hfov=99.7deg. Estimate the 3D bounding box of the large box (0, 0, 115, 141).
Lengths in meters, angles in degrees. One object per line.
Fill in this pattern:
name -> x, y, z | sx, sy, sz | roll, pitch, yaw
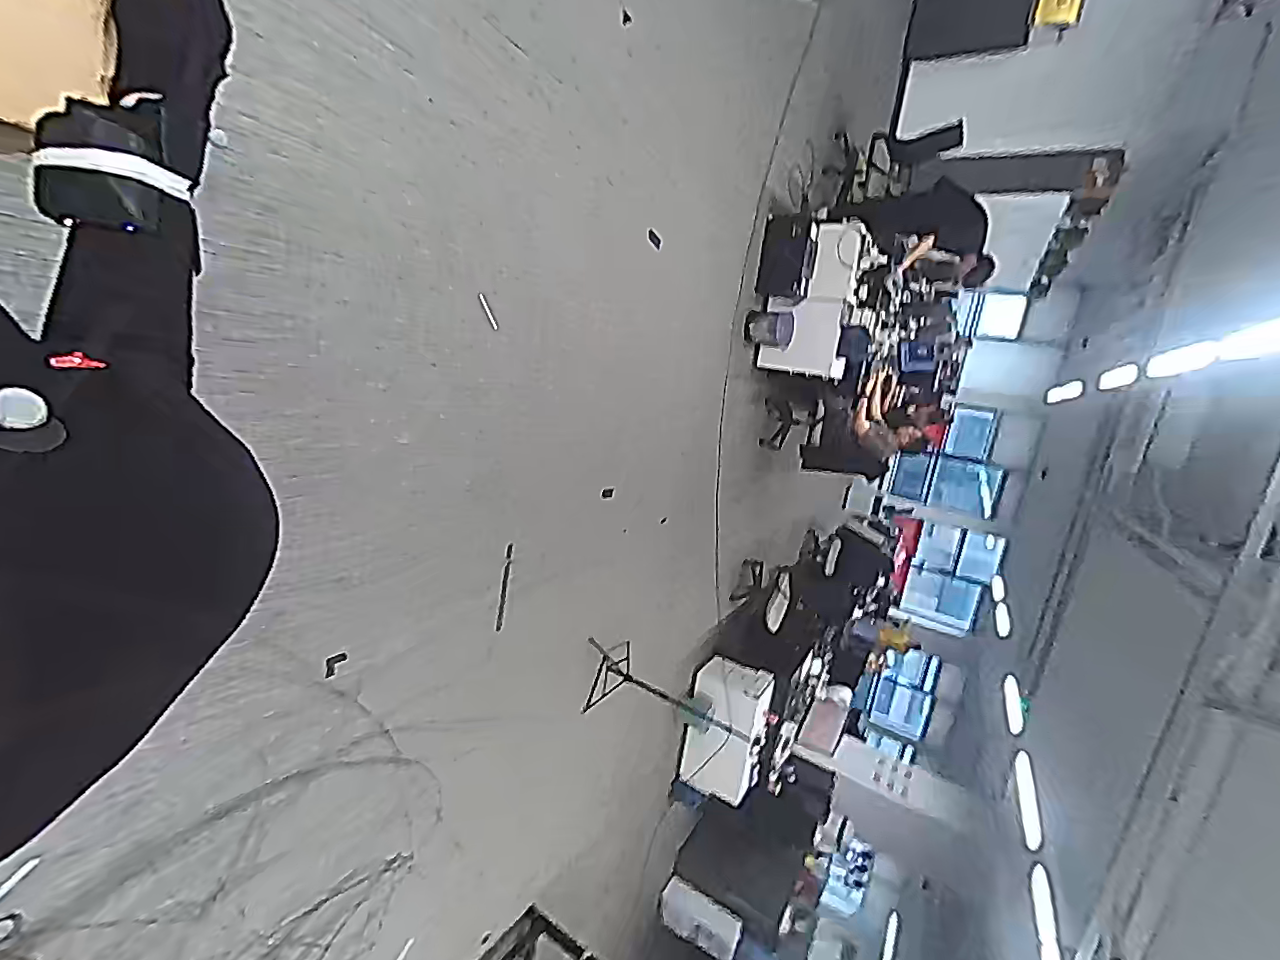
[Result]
large box -> -0.570, -0.417, 0.251 | 0.408, 0.320, 0.320 | -6, 113, -63
